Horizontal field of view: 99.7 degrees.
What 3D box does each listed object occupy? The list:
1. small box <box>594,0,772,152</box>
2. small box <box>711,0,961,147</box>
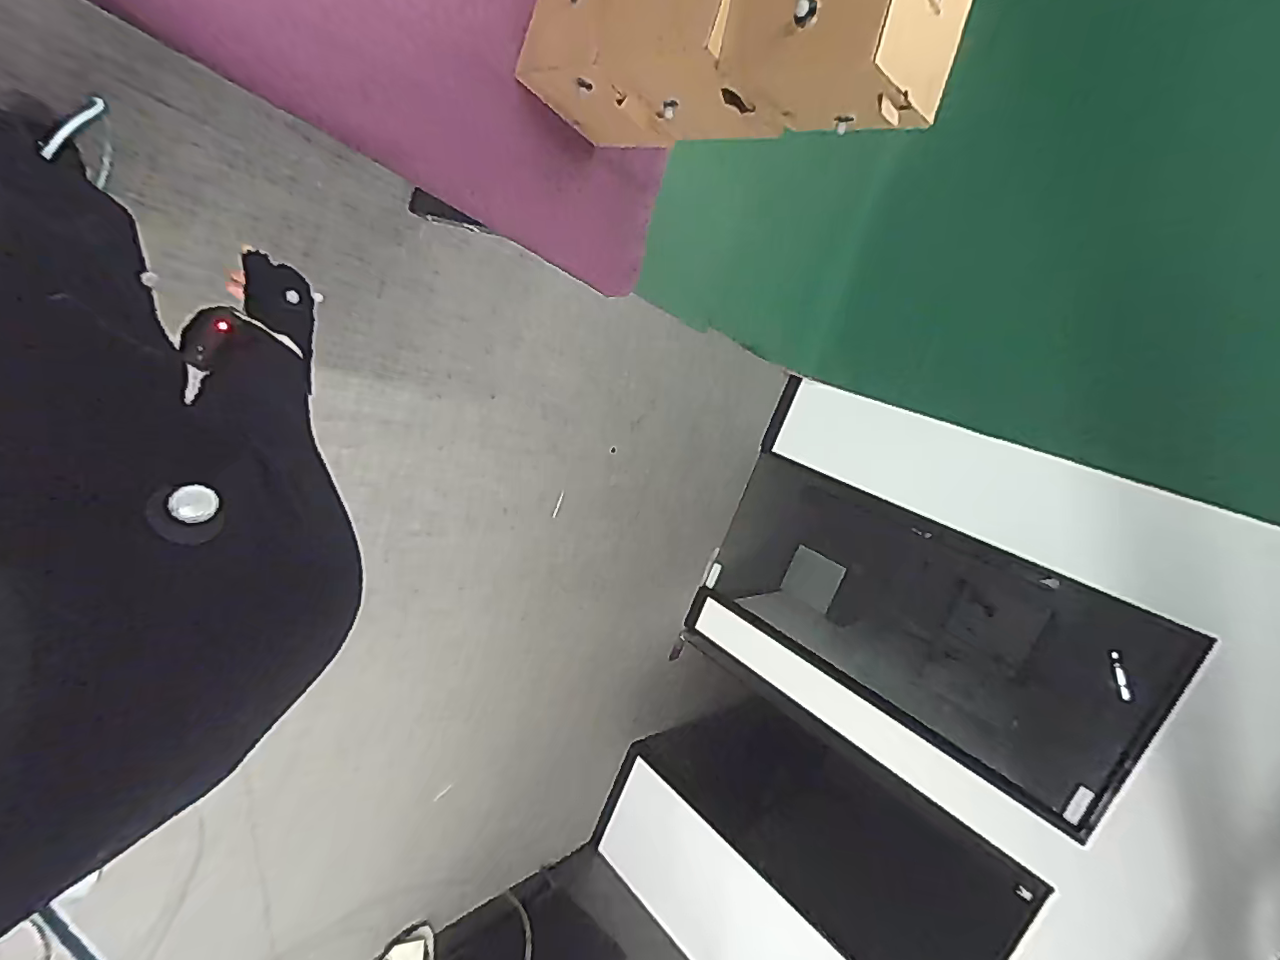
[{"bbox_3d":[0.071,-0.513,0.627,0.168,0.176,0.179,5,108,-50],"label":"small box"},{"bbox_3d":[0.191,-0.452,0.534,0.168,0.176,0.179,-11,120,-47],"label":"small box"}]
